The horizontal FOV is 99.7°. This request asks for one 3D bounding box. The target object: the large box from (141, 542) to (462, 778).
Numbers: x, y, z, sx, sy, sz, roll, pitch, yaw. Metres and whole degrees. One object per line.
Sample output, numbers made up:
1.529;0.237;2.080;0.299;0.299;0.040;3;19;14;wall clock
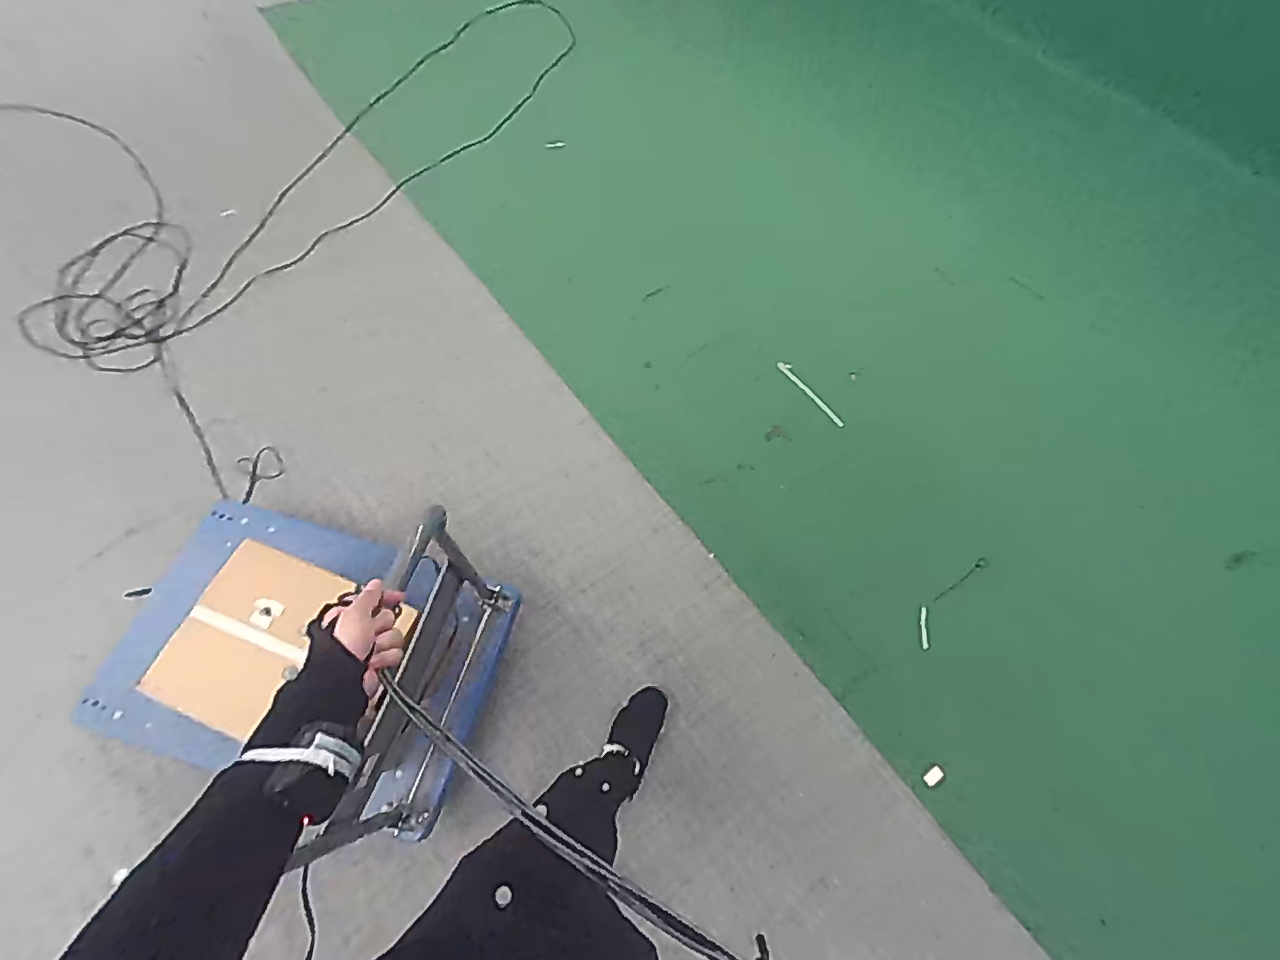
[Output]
-0.655;0.375;1.132;0.408;0.320;0.320;20;66;8;large box
